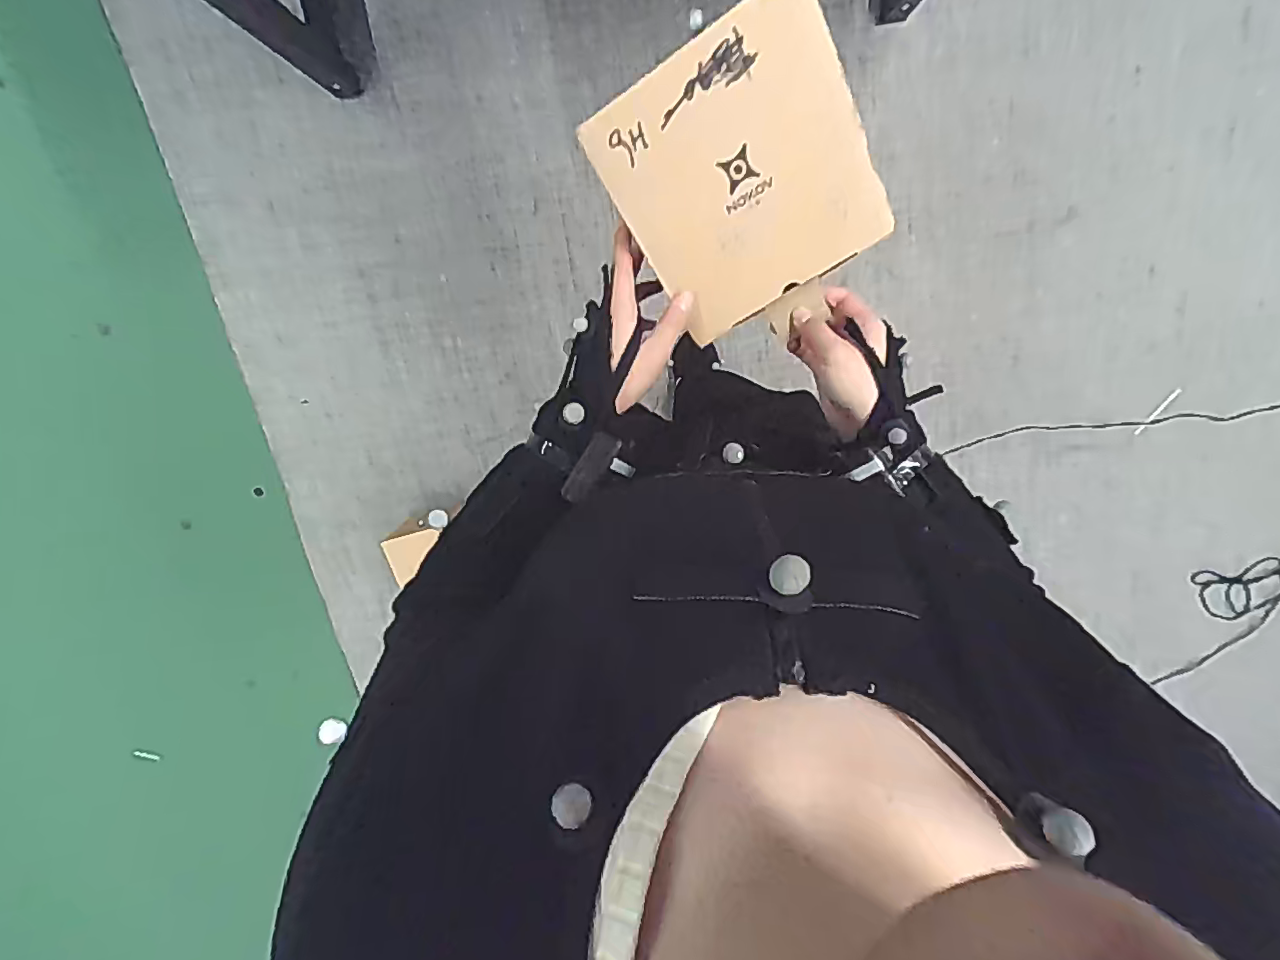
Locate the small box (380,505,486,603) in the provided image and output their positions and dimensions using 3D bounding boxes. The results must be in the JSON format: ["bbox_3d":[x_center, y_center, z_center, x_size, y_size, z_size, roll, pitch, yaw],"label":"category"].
[{"bbox_3d":[-0.499,0.177,1.341,0.179,0.176,0.168,-15,105,5],"label":"small box"}]

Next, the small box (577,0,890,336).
[{"bbox_3d":[0.069,-0.253,0.443,0.168,0.176,0.179,-28,116,14],"label":"small box"}]
